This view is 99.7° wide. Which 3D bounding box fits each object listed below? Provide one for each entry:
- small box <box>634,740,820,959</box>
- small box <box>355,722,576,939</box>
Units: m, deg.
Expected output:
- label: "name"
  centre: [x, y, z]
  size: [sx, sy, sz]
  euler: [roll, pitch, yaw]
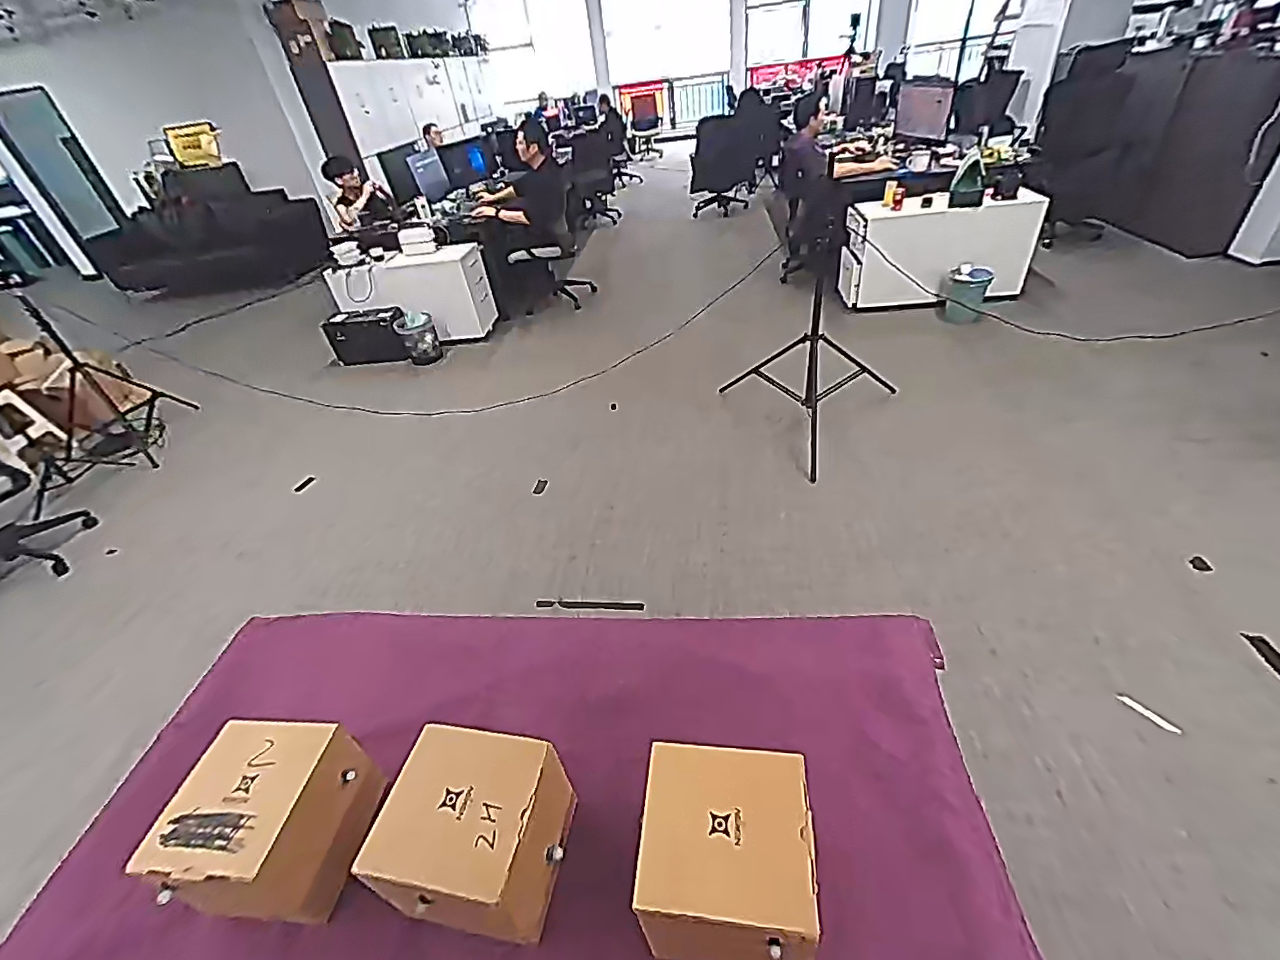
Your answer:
- label: "small box"
  centre: [0.100, 0.422, 0.613]
  size: [0.179, 0.176, 0.168]
  euler: [0, 37, 10]
- label: "small box"
  centre: [-0.195, 0.426, 0.663]
  size: [0.179, 0.176, 0.168]
  euler: [2, 39, 13]
